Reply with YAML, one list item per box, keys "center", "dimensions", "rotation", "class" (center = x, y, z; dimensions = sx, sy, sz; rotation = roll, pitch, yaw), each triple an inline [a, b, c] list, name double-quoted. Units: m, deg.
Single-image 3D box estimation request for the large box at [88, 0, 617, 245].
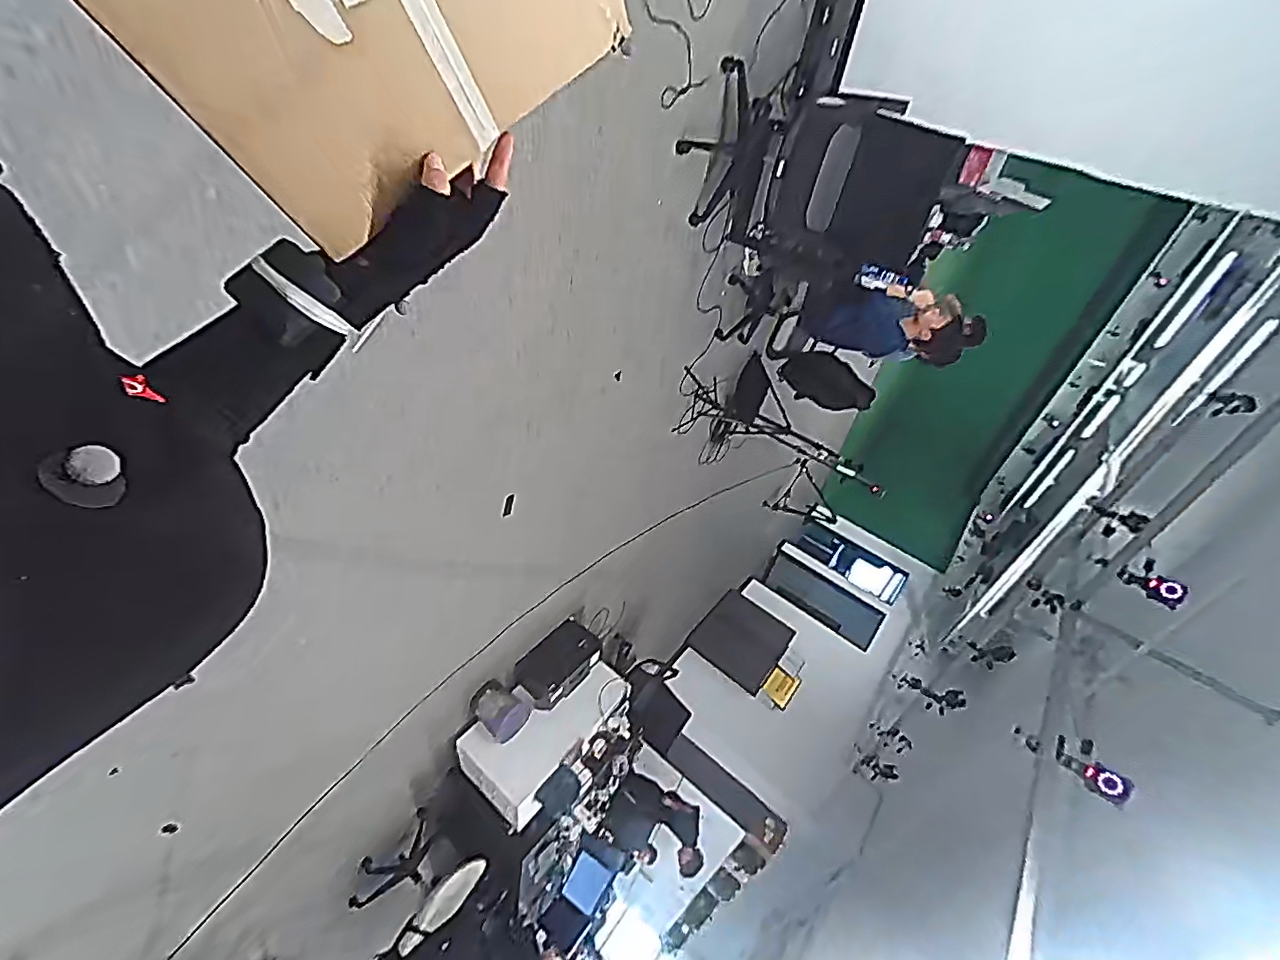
- center: [-0.272, -0.457, 0.337]
  dimensions: [0.320, 0.320, 0.408]
  rotation: [-41, 154, -5]
  class: "large box"
